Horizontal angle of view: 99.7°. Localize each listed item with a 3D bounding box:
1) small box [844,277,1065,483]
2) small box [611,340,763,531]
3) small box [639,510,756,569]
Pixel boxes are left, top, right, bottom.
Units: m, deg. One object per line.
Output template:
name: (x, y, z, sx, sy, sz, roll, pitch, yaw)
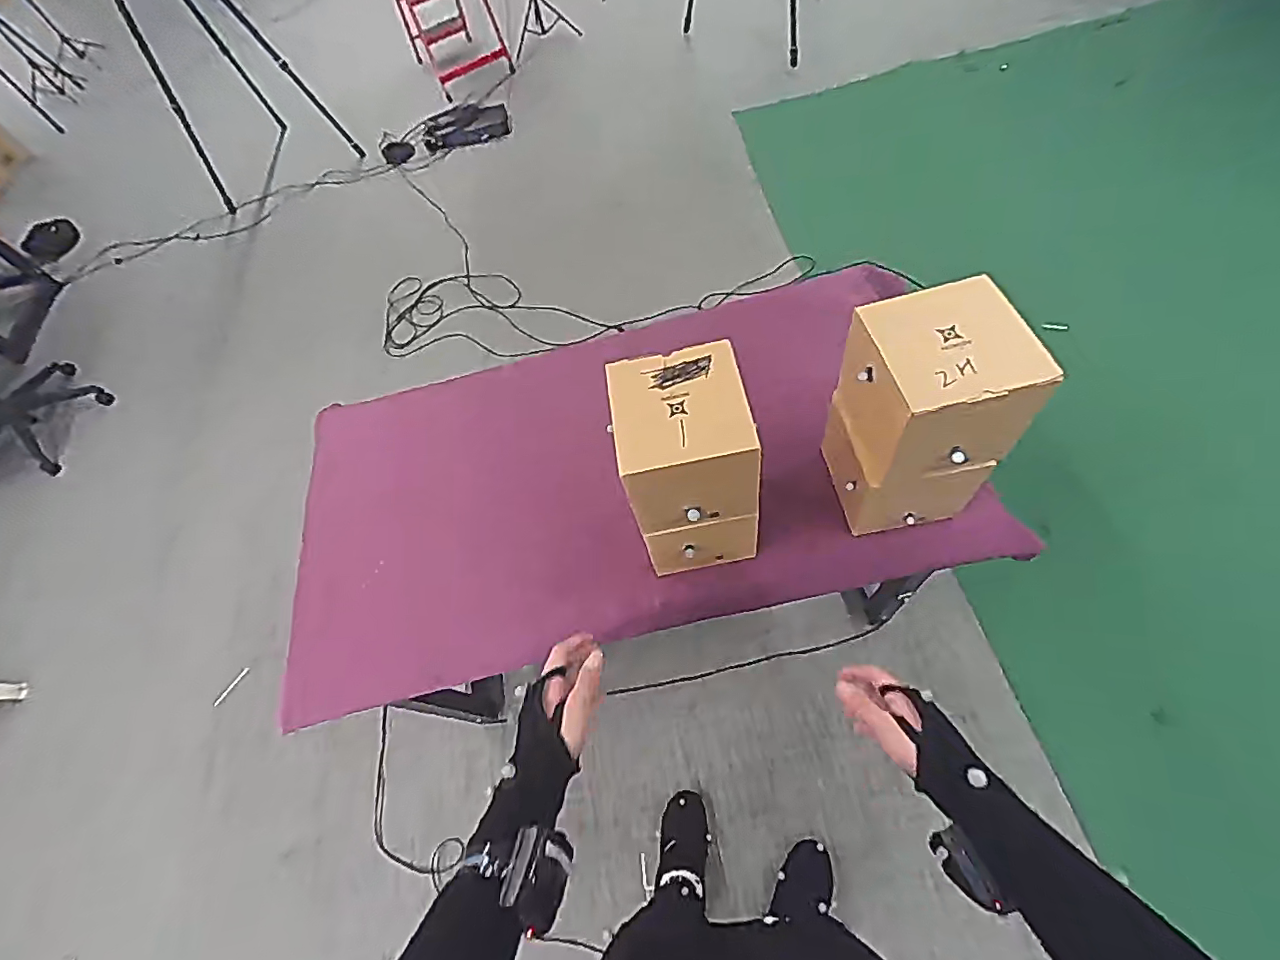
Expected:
small box: (0.378, -0.122, 0.696, 0.168, 0.176, 0.179, -13, 59, 5)
small box: (0.062, -0.053, 0.722, 0.168, 0.176, 0.179, -11, 59, 5)
small box: (0.088, 0.030, 0.860, 0.168, 0.176, 0.179, -11, 58, 5)
